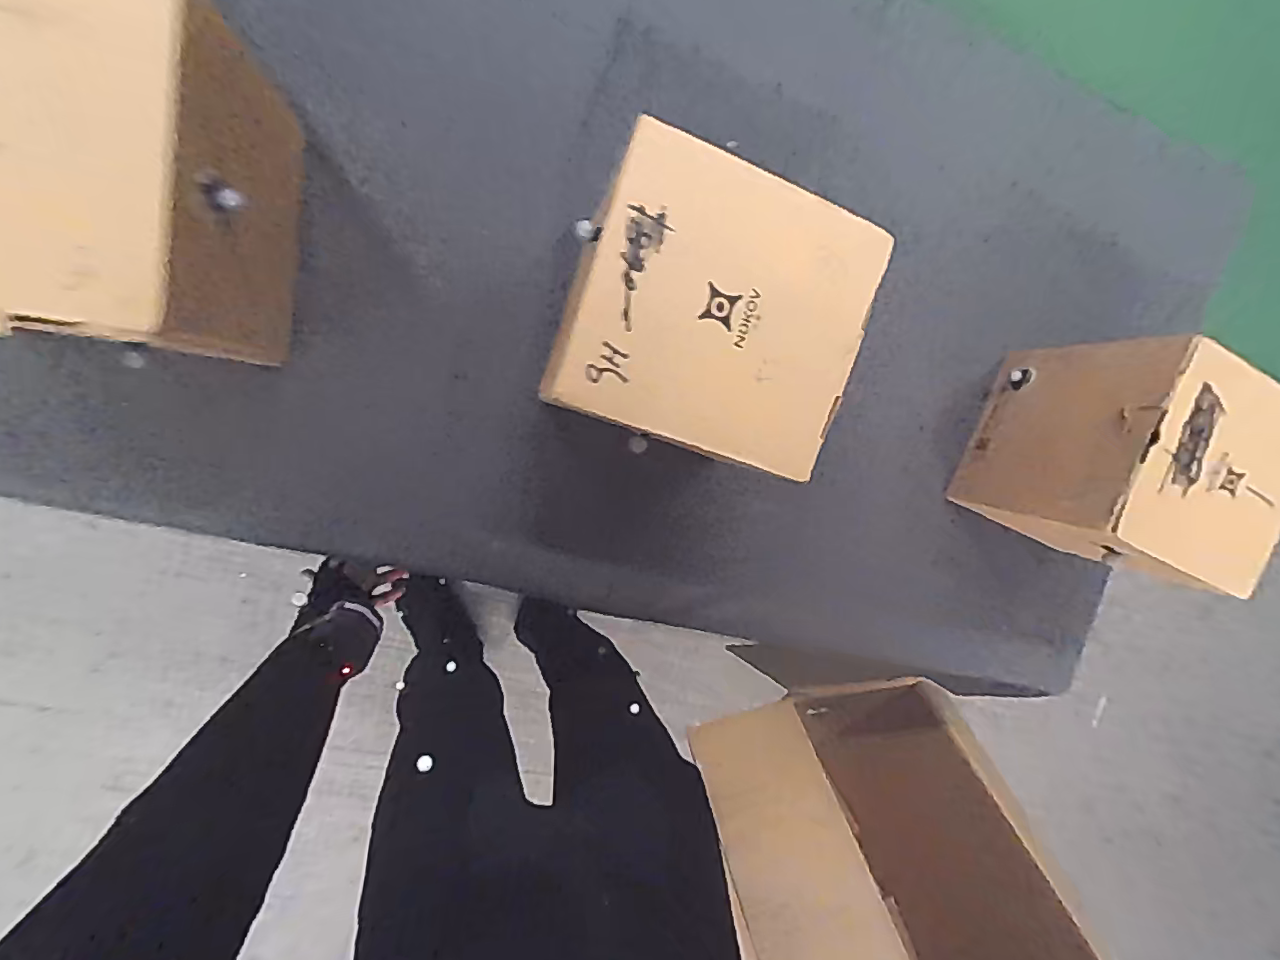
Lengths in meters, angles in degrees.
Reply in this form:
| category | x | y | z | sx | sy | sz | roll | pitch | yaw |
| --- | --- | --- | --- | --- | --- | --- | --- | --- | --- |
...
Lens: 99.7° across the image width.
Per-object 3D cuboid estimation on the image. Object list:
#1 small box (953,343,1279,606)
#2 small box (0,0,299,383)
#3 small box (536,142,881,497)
| category | x | y | z | sx | sy | sz | roll | pitch | yaw |
| --- | --- | --- | --- | --- | --- | --- | --- | --- | --- |
| small box | 0.441 | -0.008 | 0.506 | 0.179 | 0.176 | 0.168 | 21 | 92 | -15 |
| small box | -0.323 | -0.158 | 0.316 | 0.168 | 0.176 | 0.179 | 6 | 93 | -15 |
| small box | 0.032 | -0.099 | 0.403 | 0.179 | 0.176 | 0.168 | 17 | 93 | -15 |
